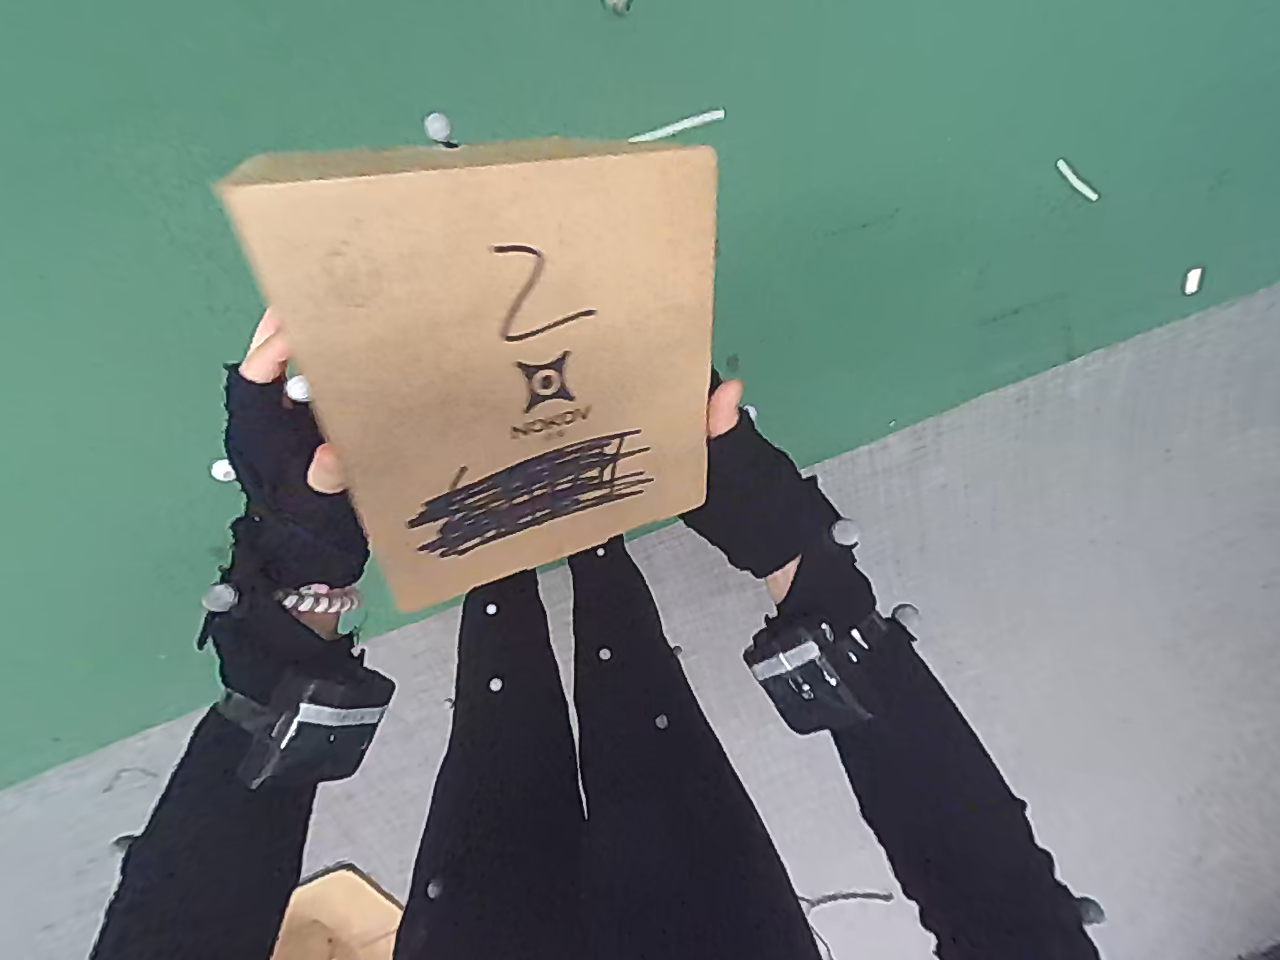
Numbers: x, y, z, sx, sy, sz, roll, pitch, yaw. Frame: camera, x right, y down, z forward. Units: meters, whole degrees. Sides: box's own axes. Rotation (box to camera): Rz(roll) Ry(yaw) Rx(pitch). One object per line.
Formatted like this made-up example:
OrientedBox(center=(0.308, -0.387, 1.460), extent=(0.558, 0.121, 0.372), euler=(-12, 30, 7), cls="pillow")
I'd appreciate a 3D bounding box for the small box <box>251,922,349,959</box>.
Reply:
OrientedBox(center=(-0.854, 1.239, 1.322), extent=(0.179, 0.176, 0.168), euler=(-21, 116, -2), cls="small box")
